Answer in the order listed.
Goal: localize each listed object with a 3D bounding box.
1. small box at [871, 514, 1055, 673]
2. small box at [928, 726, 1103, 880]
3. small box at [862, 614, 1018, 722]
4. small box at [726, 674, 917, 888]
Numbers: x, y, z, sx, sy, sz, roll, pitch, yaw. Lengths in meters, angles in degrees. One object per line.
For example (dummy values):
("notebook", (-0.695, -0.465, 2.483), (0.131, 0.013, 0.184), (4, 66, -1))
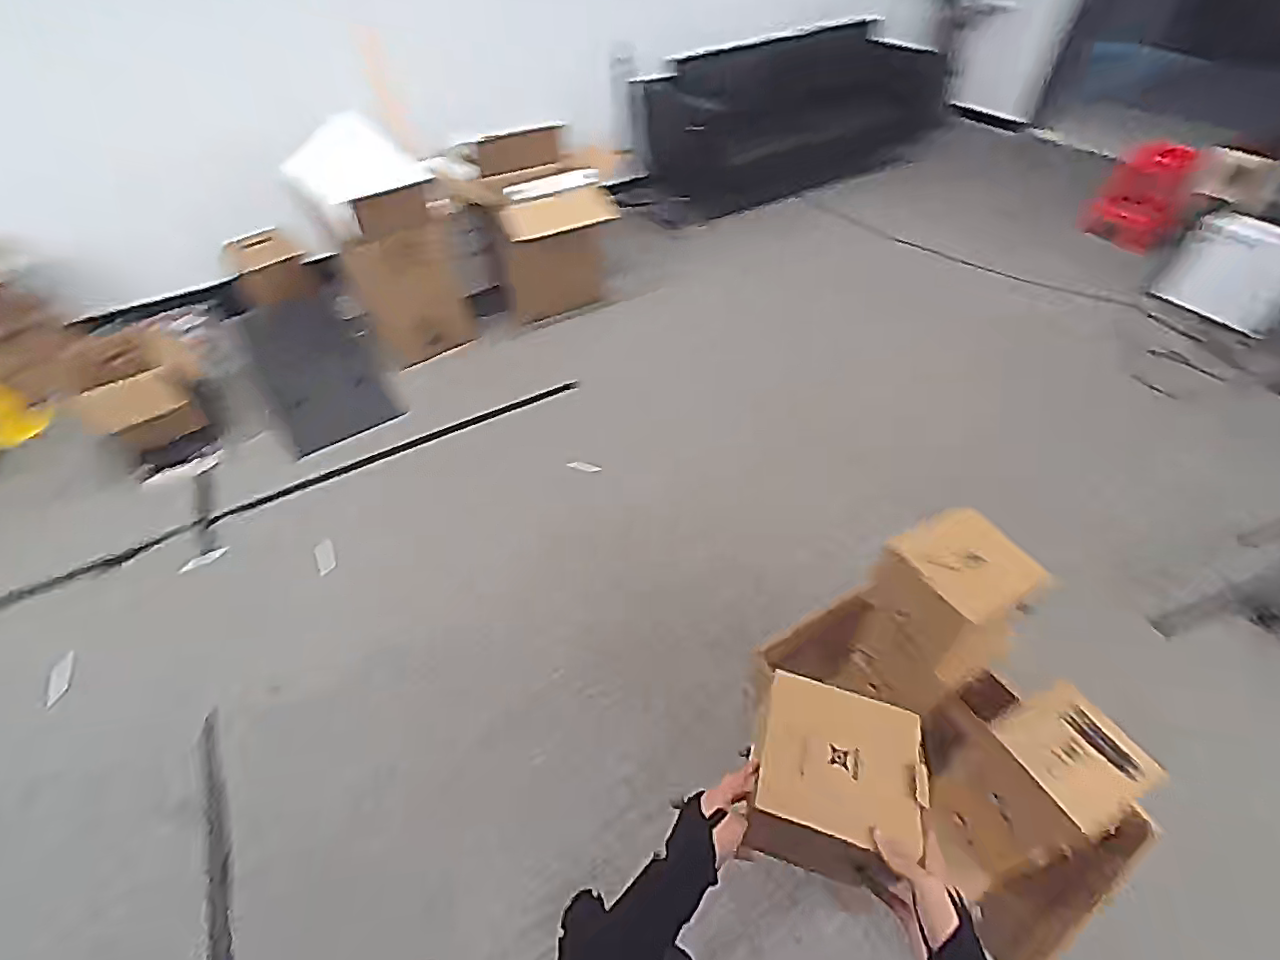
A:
("small box", (0.526, 0.192, 0.910), (0.179, 0.176, 0.168), (-20, 50, -15))
("small box", (0.669, 0.590, 0.988), (0.179, 0.176, 0.168), (-23, 50, -17))
("small box", (0.544, 0.322, 1.014), (0.179, 0.176, 0.168), (-20, 51, -17))
("small box", (0.219, 0.376, 0.673), (0.179, 0.176, 0.168), (15, 45, 10))
